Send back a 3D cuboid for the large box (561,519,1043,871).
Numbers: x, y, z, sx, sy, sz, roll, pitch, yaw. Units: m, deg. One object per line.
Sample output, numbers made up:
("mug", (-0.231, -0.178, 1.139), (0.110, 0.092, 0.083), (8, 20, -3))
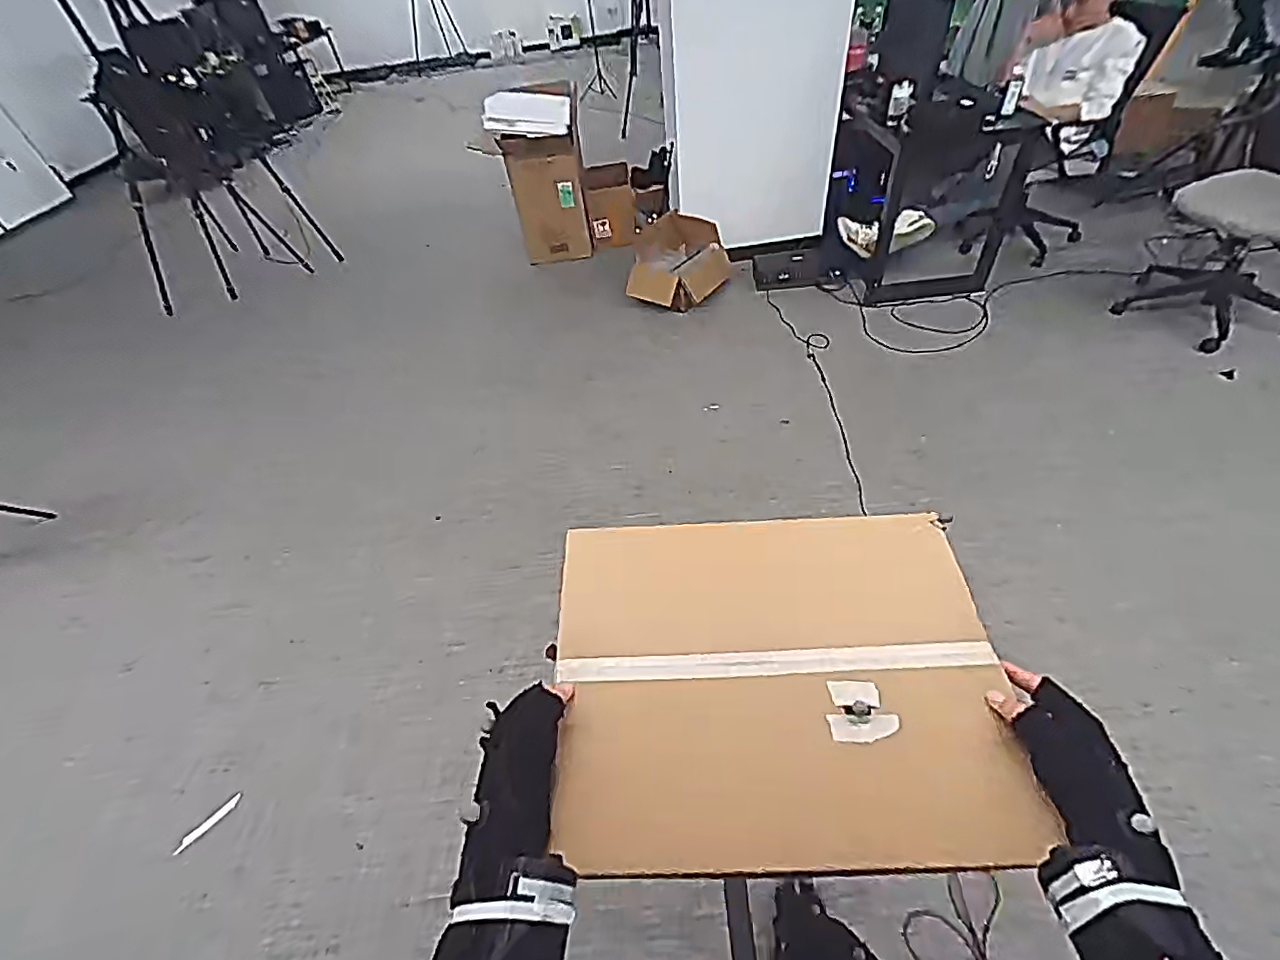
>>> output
("large box", (0.133, 0.267, 0.647), (0.408, 0.320, 0.320), (-3, 54, 2))
